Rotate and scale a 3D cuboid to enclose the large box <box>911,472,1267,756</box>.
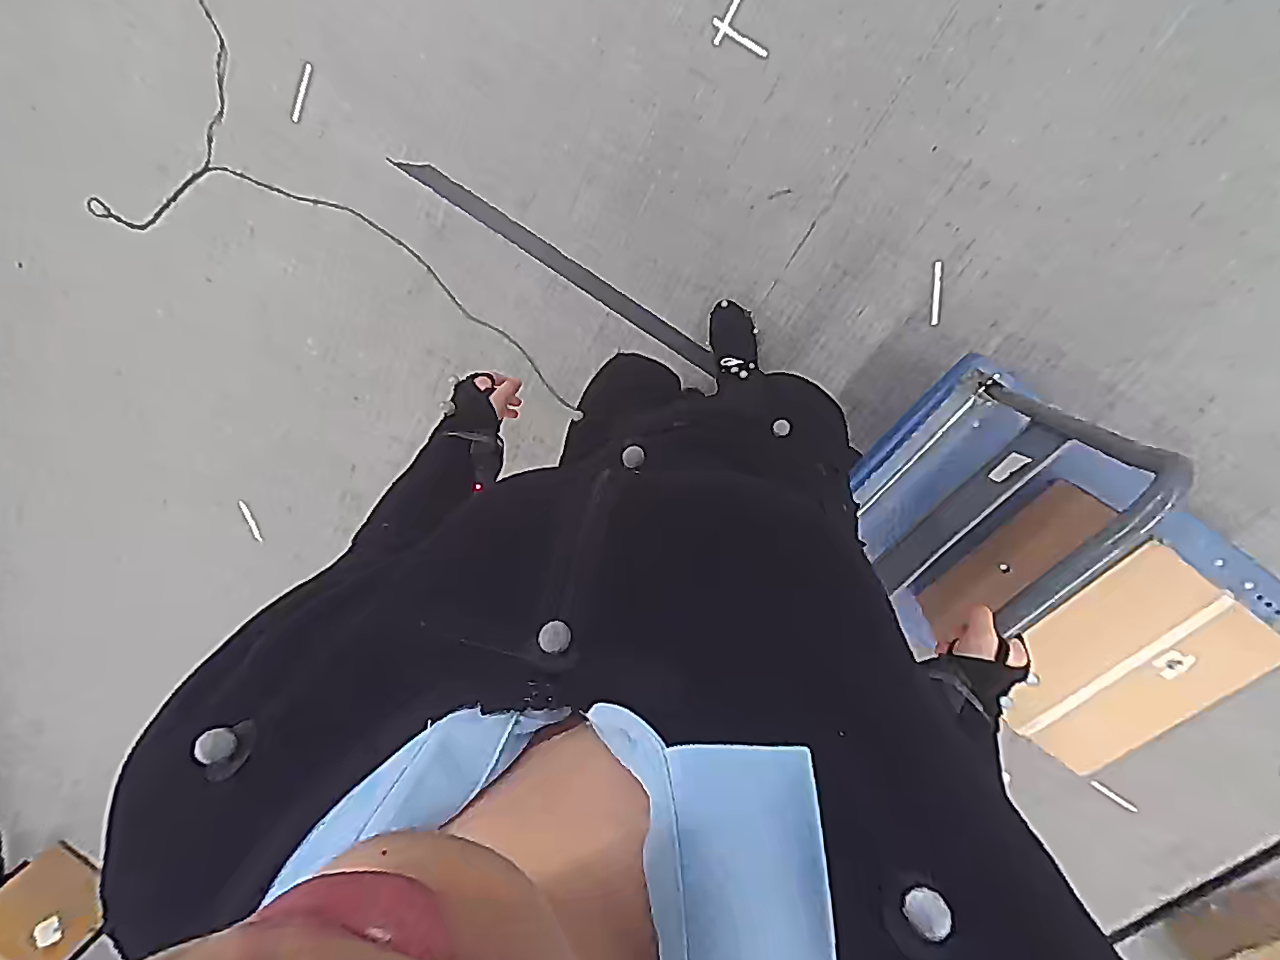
[{"bbox_3d":[0.854,0.258,1.113,0.320,0.320,0.408,37,111,-3],"label":"large box"}]
